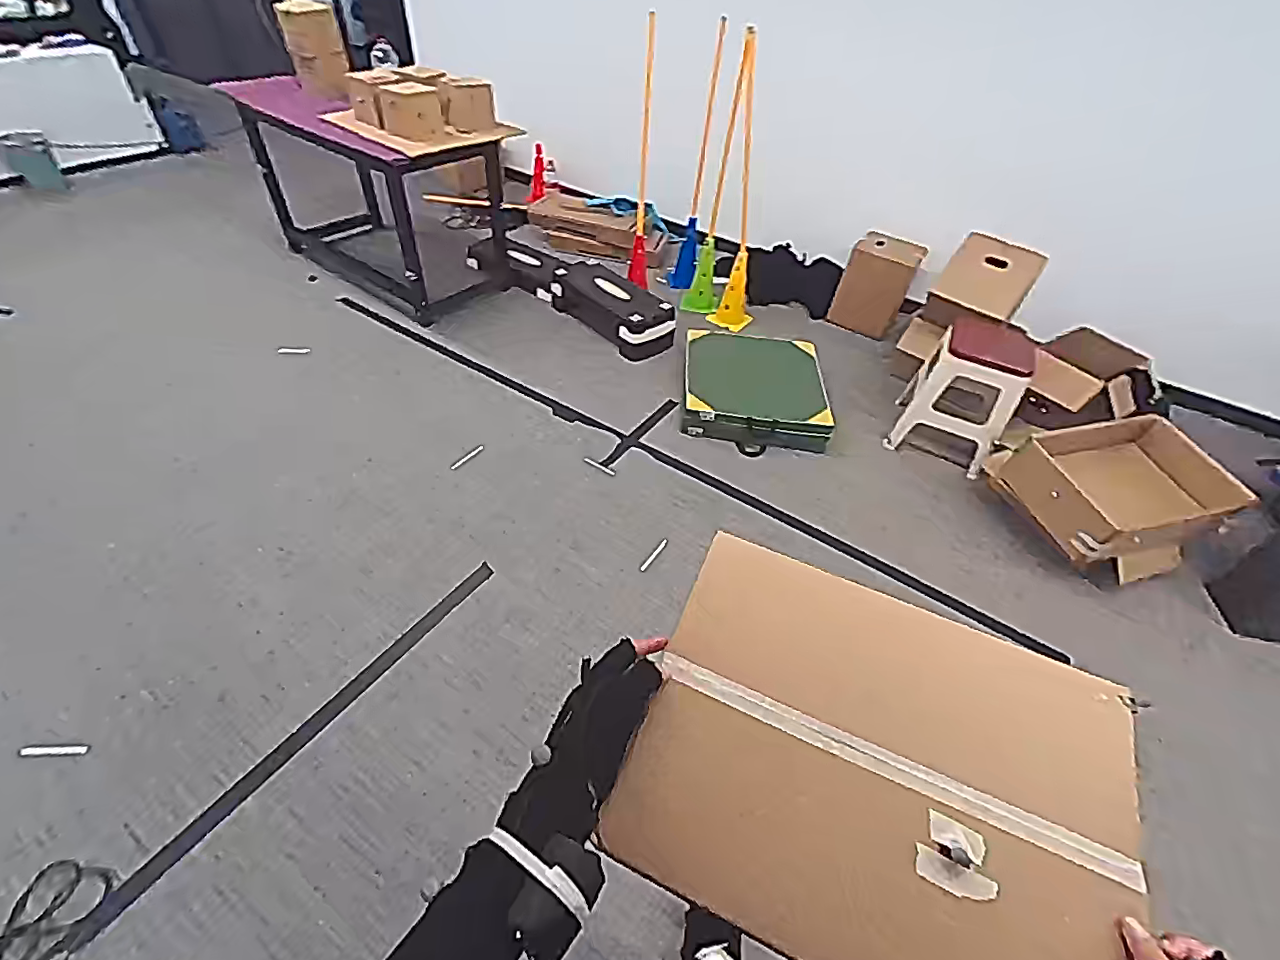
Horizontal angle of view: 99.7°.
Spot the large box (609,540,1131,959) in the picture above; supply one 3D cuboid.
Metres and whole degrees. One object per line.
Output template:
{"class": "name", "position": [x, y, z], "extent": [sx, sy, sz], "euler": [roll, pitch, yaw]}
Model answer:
{"class": "large box", "position": [0.208, 0.328, 0.604], "extent": [0.408, 0.320, 0.320], "euler": [21, 59, 13]}
